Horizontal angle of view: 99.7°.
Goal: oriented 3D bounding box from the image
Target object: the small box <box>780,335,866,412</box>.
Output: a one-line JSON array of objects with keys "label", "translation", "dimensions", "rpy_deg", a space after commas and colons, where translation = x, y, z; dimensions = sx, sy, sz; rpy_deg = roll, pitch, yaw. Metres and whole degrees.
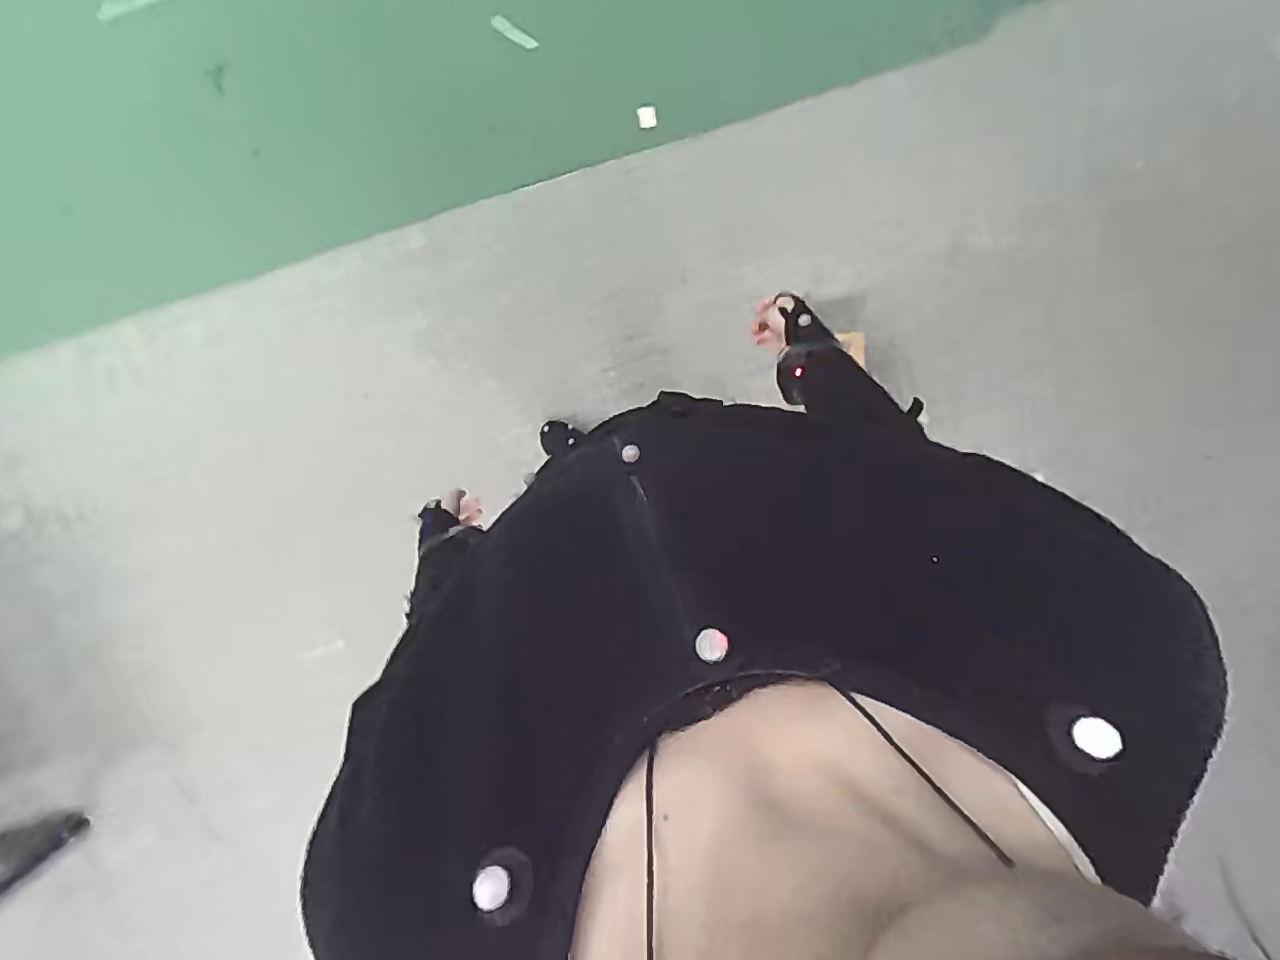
[{"label": "small box", "translation": [0.470, -0.272, 1.400], "dimensions": [0.168, 0.176, 0.179], "rpy_deg": [-6, 98, -1]}]
